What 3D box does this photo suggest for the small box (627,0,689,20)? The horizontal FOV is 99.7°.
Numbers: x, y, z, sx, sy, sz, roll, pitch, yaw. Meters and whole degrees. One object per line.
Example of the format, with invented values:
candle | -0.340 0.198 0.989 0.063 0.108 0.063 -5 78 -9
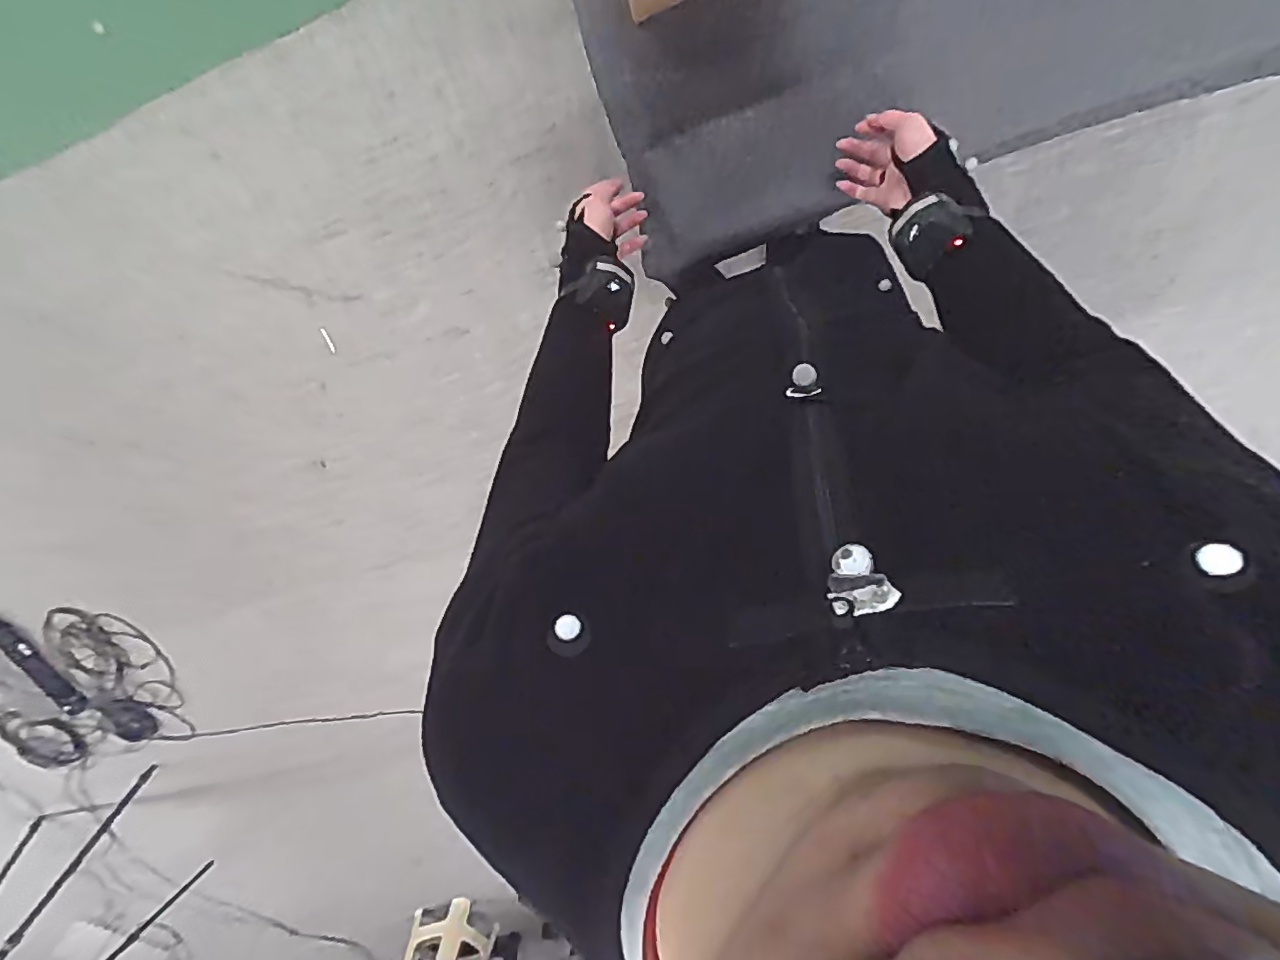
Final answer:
small box | 0.045 -0.551 0.468 0.179 0.176 0.168 -17 115 12
